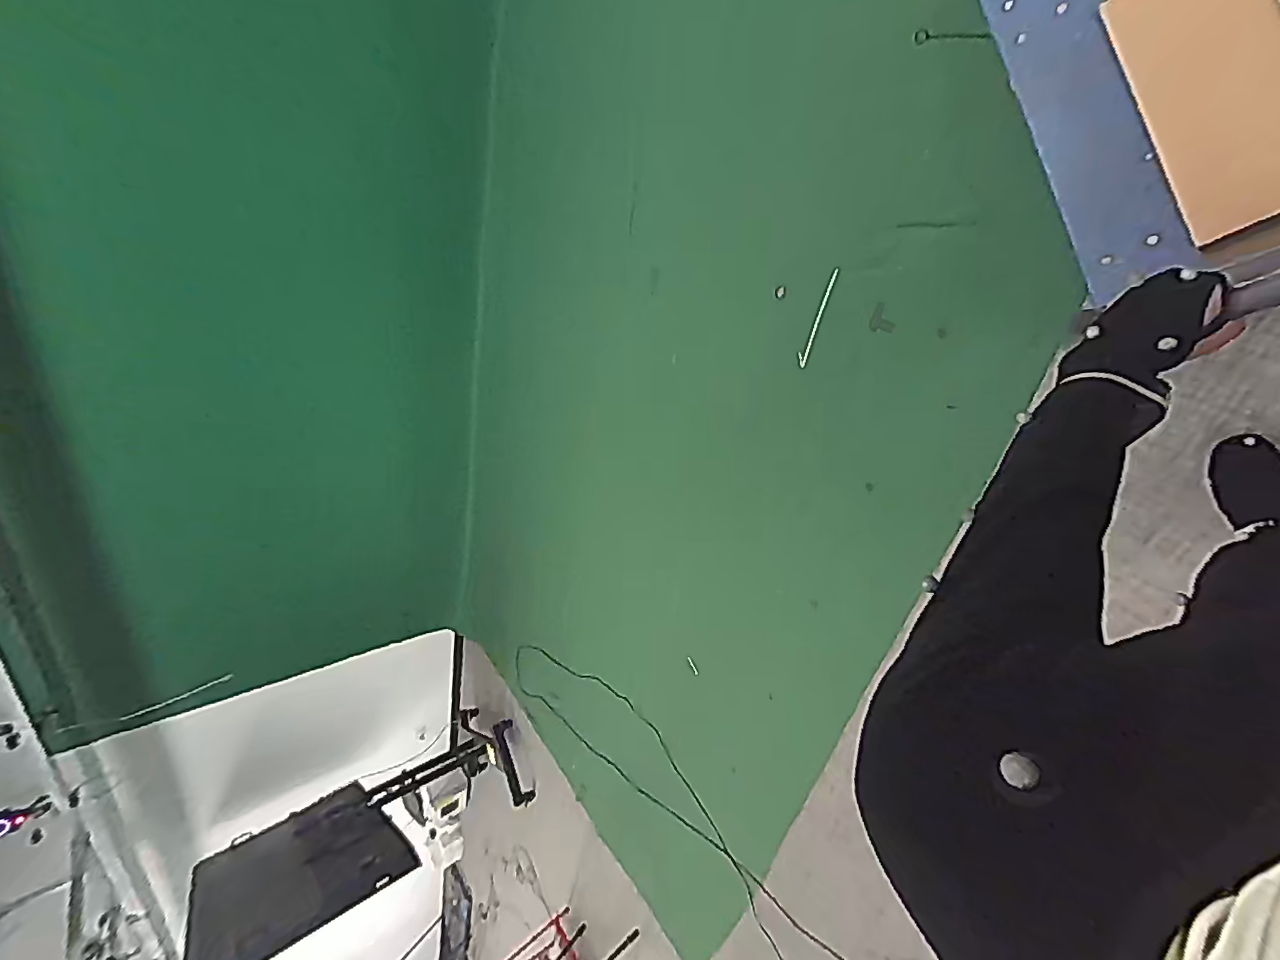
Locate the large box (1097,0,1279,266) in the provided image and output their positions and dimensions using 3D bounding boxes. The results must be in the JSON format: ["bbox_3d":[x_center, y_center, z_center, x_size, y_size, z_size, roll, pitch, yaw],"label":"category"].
[{"bbox_3d":[0.969,-0.592,0.798,0.320,0.320,0.408,-22,81,49],"label":"large box"}]
